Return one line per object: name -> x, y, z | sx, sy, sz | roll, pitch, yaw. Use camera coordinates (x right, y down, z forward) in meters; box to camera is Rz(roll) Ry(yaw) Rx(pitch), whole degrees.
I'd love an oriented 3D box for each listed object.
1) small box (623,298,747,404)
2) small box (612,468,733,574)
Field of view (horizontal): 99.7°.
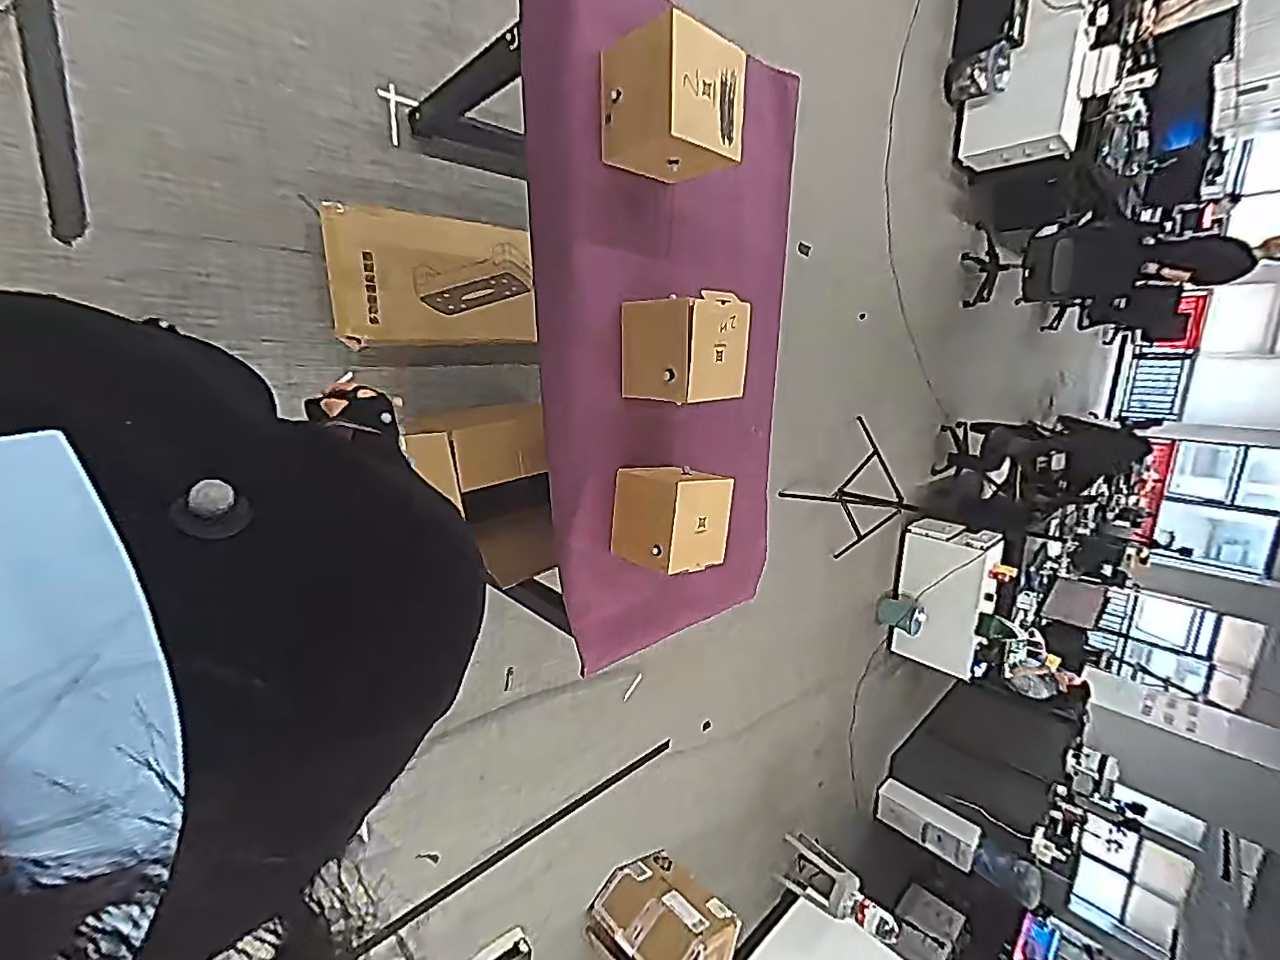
small box -> 0.081, -0.242, 1.015 | 0.168, 0.176, 0.179 | -14, 109, -44
small box -> 0.061, 0.070, 1.076 | 0.168, 0.176, 0.179 | -3, 103, -44
